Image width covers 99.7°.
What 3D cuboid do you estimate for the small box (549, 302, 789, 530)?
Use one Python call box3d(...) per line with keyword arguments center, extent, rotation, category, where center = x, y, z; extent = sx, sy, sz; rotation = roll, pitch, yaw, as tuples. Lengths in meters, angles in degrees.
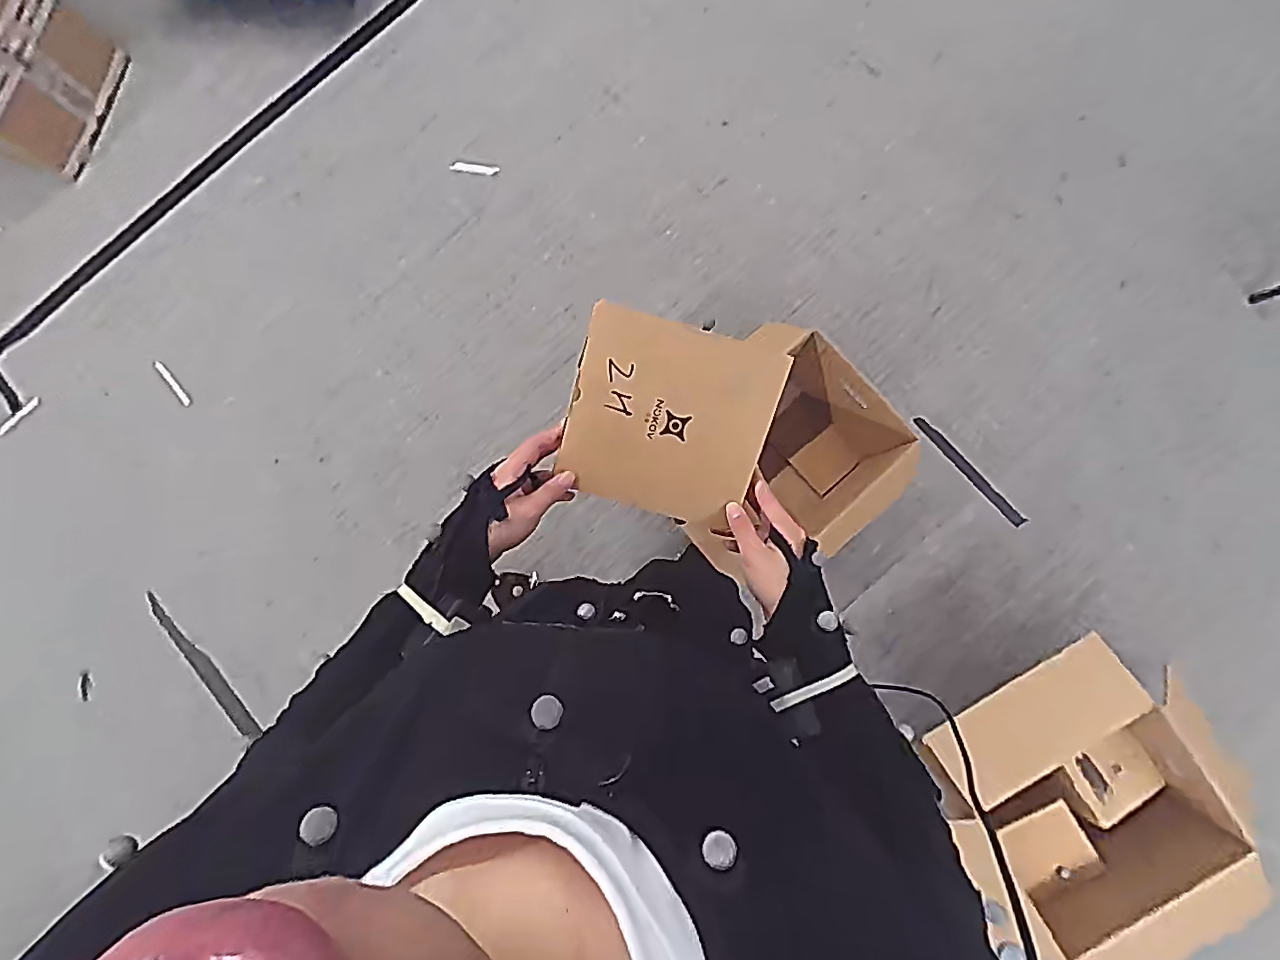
box3d(center=(0.027, -0.072, 0.552), extent=(0.179, 0.176, 0.168), rotation=(17, 105, 0), category="small box")
